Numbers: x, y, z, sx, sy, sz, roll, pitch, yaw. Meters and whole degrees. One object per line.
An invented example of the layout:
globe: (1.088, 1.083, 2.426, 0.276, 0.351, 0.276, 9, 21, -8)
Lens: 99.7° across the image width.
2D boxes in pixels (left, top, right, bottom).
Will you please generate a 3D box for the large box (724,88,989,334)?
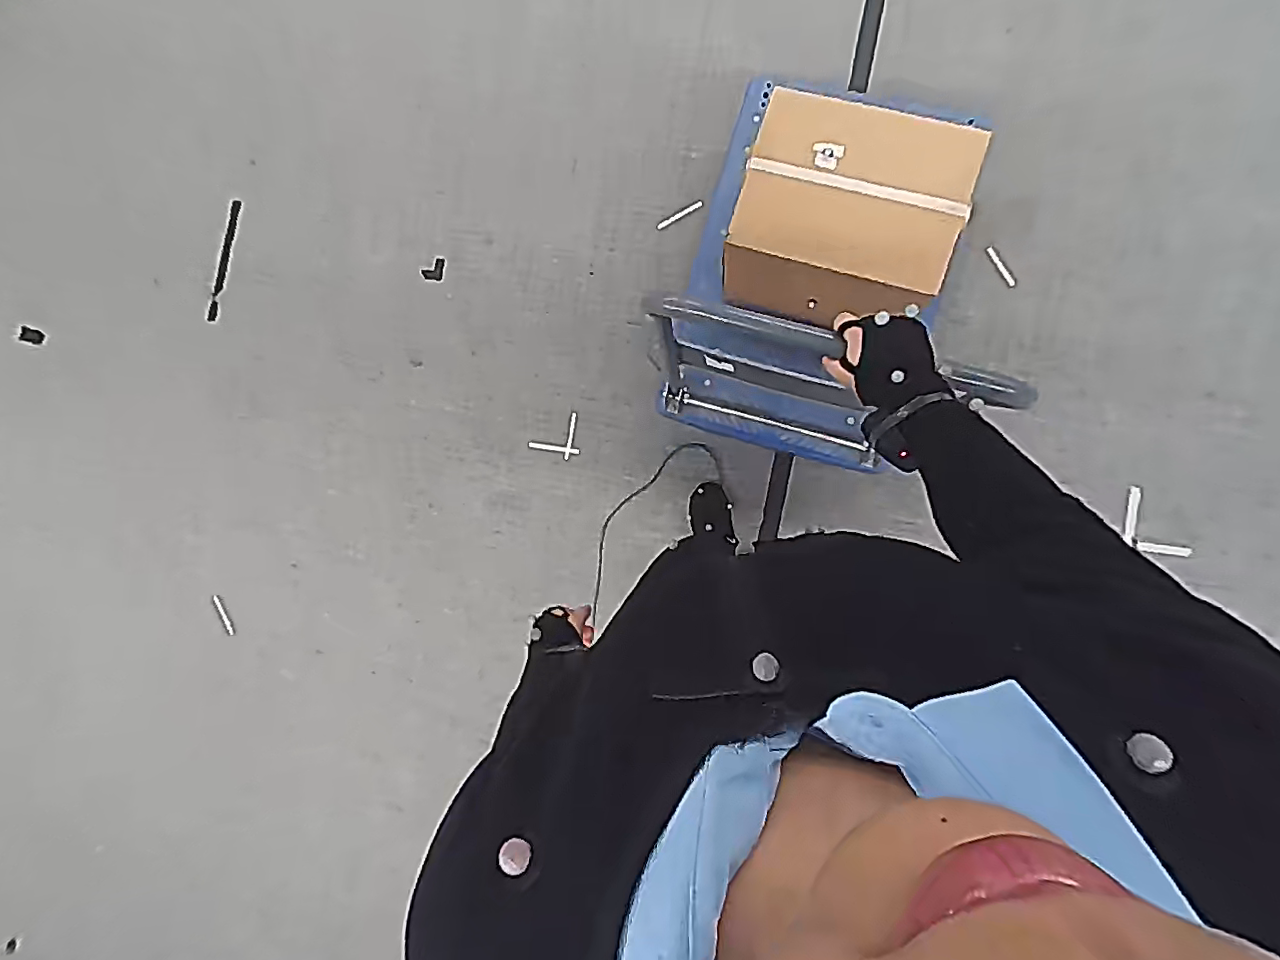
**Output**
large box: (0.417, -0.538, 1.139, 0.408, 0.320, 0.320, 18, 90, 10)
